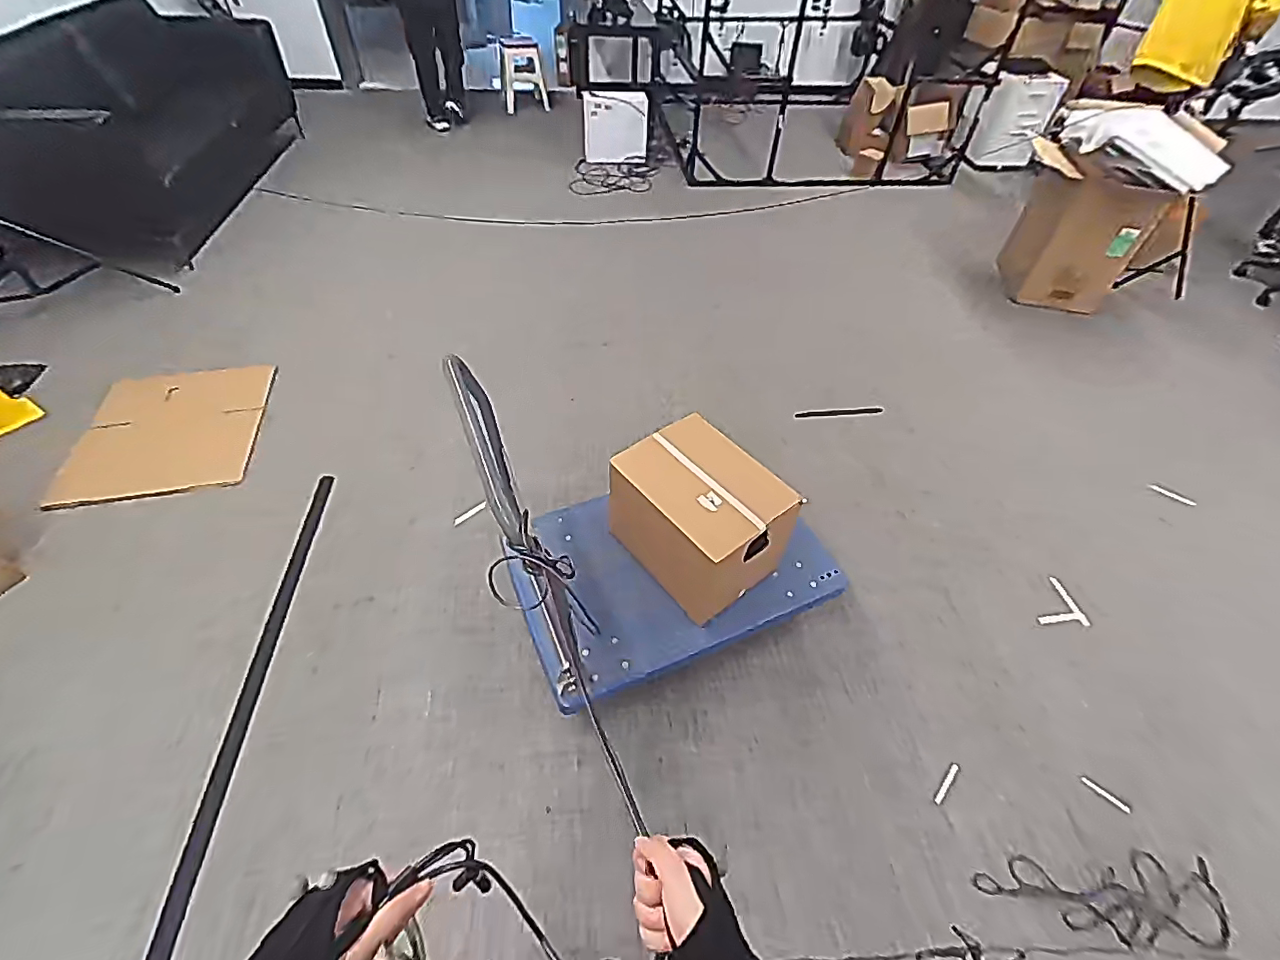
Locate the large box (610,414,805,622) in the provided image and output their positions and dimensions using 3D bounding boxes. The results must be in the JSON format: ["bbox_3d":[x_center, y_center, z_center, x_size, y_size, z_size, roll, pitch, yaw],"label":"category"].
[{"bbox_3d":[0.158,0.095,1.472,0.320,0.320,0.408,-30,58,-25],"label":"large box"}]
